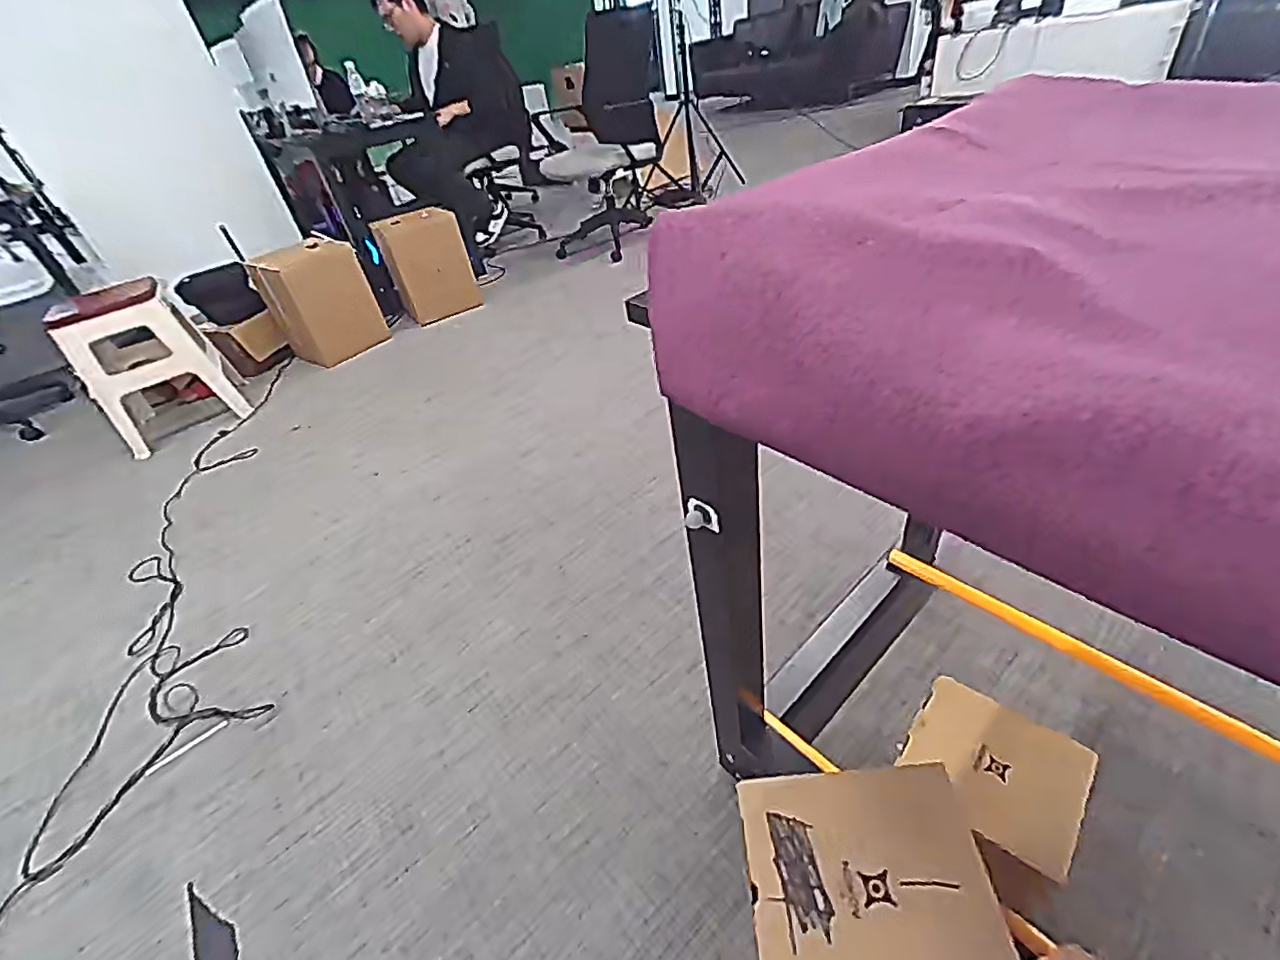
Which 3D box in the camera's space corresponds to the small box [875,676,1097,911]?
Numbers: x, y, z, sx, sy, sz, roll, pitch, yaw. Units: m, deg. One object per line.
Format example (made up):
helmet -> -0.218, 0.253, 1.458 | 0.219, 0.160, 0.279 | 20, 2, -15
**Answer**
small box -> 0.420, 0.392, 0.677 | 0.179, 0.176, 0.168 | 23, 50, 36
